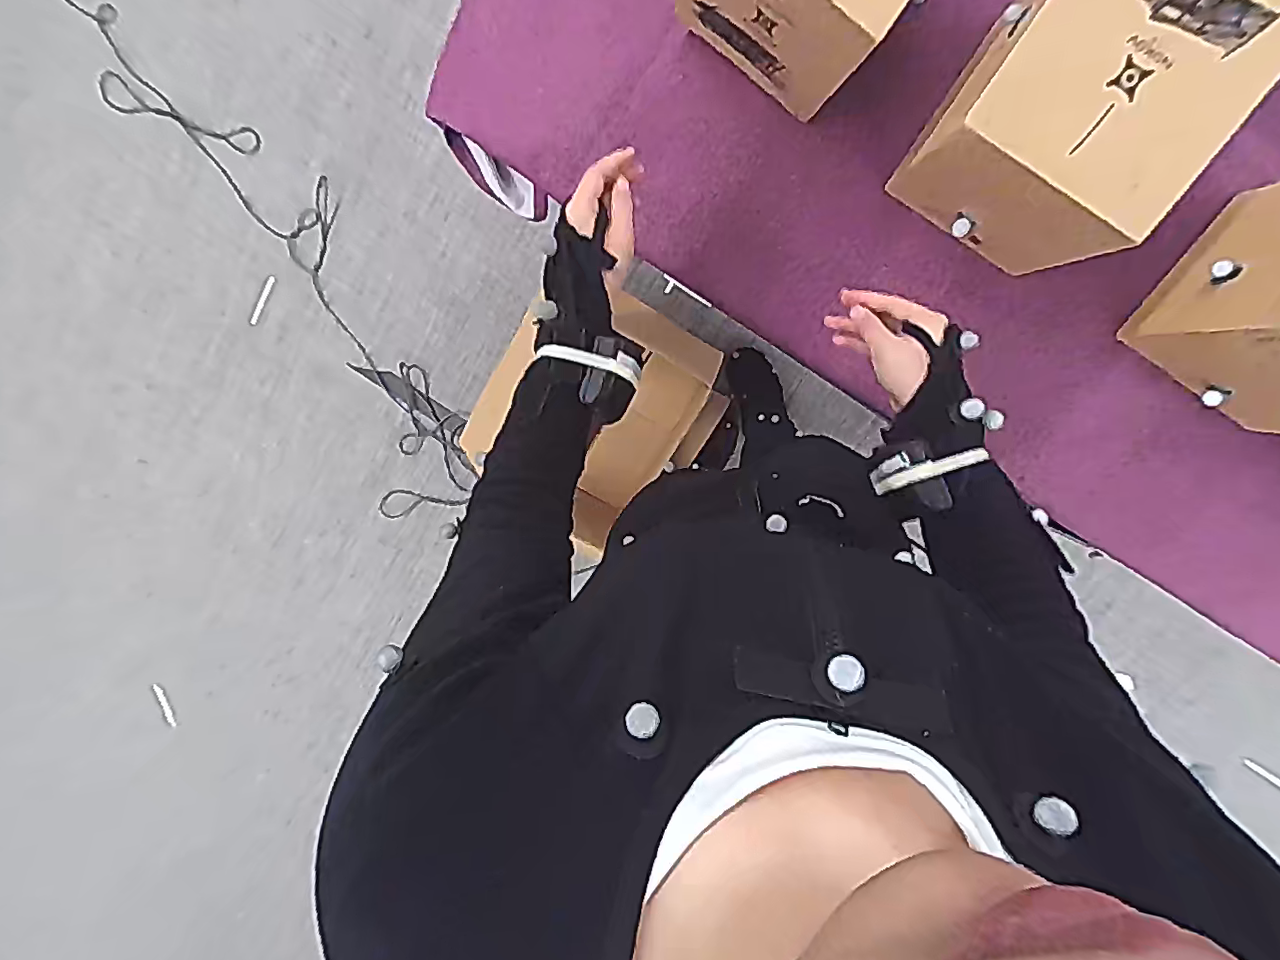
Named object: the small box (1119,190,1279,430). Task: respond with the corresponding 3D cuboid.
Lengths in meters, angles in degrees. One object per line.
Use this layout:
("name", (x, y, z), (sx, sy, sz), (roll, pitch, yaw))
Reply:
("small box", (0.605, -0.154, 0.471), (0.179, 0.176, 0.168), (34, 102, -2))

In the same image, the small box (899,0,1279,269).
("small box", (0.362, -0.311, 0.464), (0.168, 0.176, 0.179), (33, 104, -2))
